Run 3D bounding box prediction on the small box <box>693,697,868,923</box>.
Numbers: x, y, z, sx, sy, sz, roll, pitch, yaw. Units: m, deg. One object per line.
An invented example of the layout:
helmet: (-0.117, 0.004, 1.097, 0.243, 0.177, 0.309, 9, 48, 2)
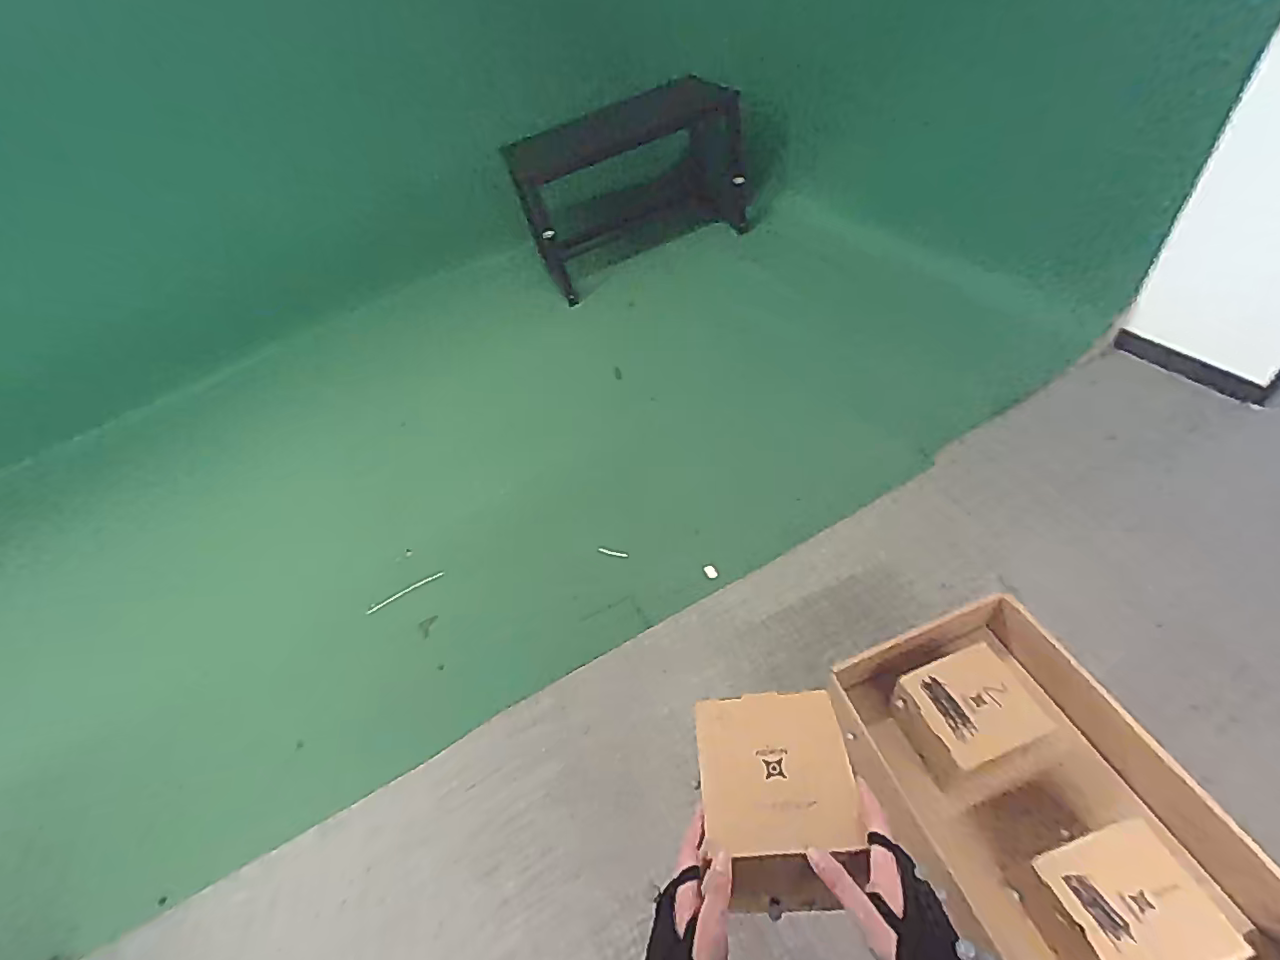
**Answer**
small box: (0.152, 0.384, 0.637, 0.168, 0.176, 0.179, -6, 35, 6)
